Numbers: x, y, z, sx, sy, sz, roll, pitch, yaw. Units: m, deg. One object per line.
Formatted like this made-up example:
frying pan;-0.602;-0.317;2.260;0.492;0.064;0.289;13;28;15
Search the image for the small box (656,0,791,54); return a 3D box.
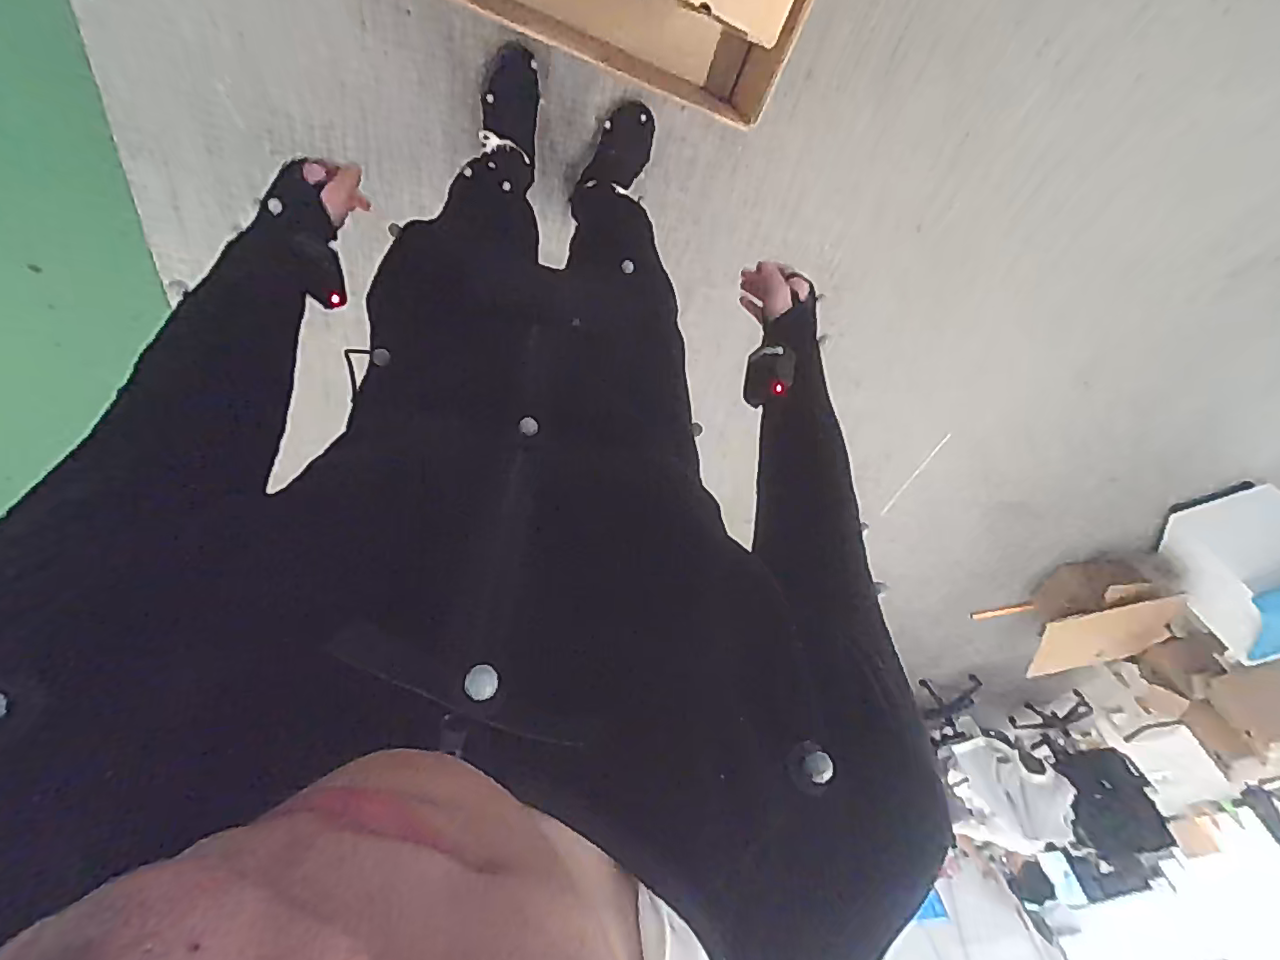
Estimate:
small box;0.082;-0.578;0.546;0.168;0.176;0.179;11;132;-19
